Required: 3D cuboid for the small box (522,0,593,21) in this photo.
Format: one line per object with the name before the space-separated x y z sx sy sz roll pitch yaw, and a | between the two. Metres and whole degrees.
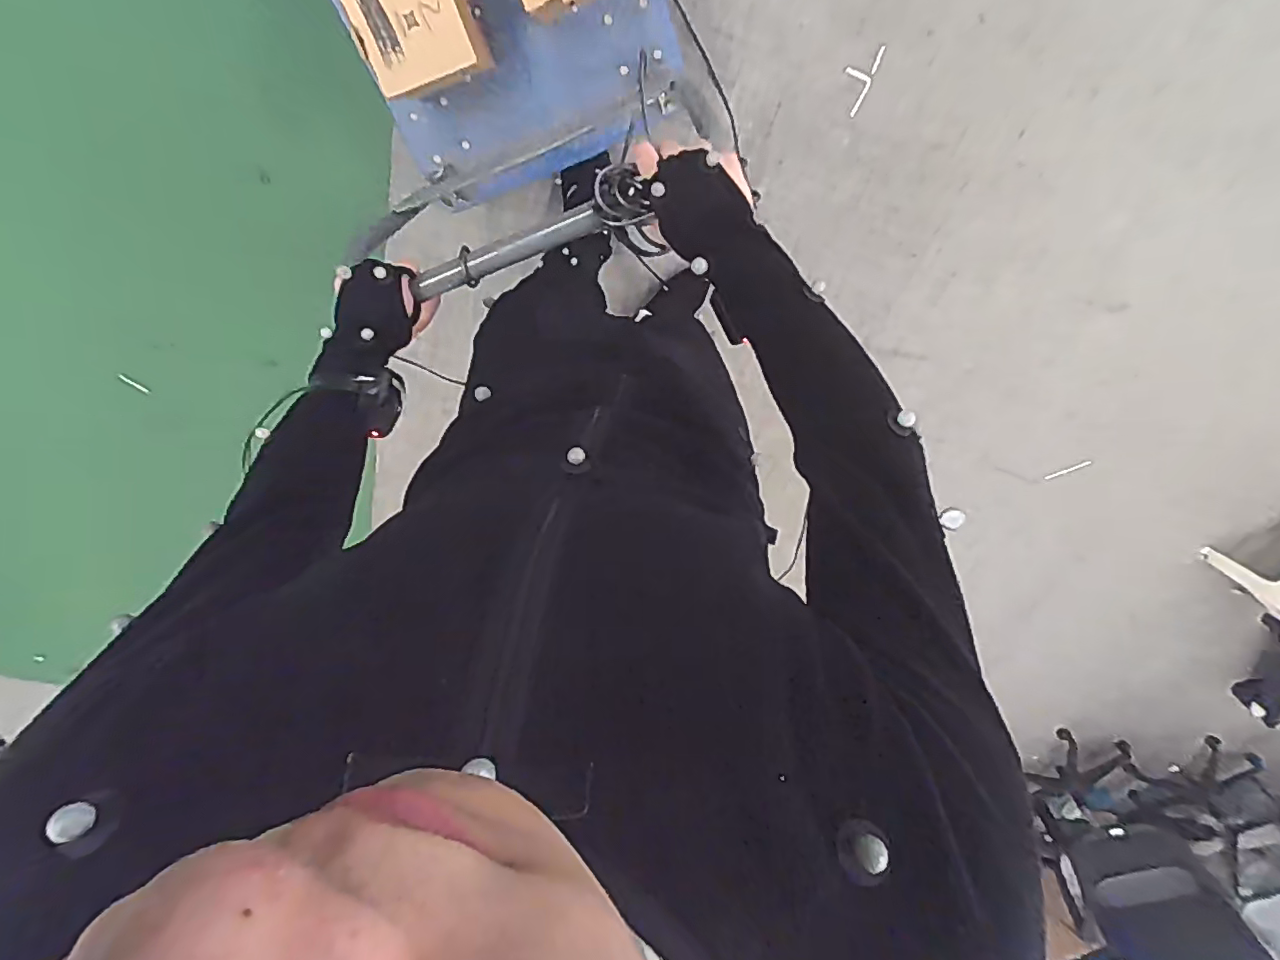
small box | -0.135 -0.884 0.872 0.168 0.176 0.179 -17 125 11
